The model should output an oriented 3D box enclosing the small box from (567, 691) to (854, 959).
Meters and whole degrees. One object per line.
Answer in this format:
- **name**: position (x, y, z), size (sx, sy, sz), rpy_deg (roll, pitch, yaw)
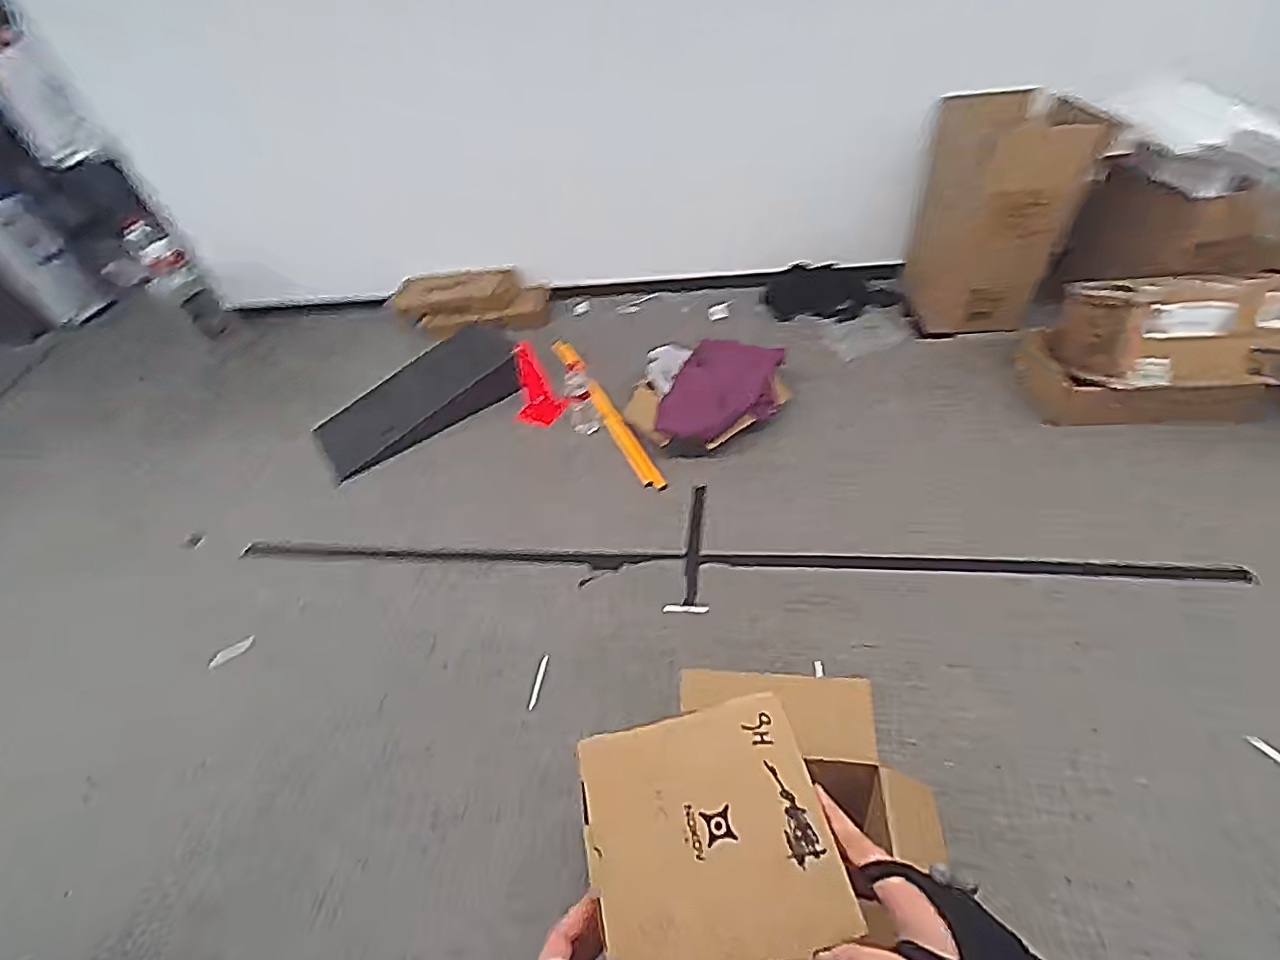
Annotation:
- **small box**: position (0.049, 0.307, 0.460), size (0.179, 0.176, 0.168), rpy_deg (-13, 52, -5)
